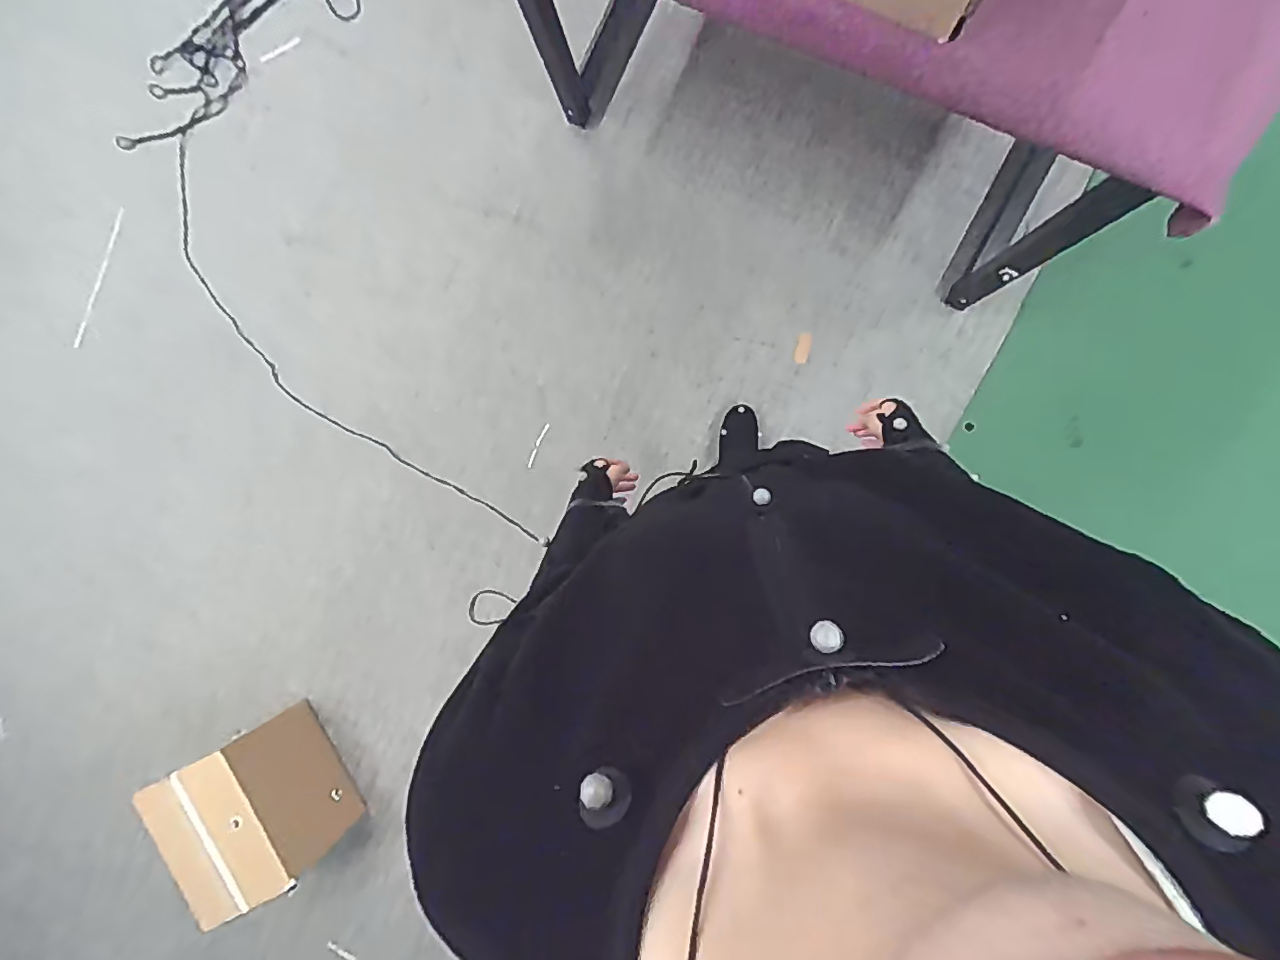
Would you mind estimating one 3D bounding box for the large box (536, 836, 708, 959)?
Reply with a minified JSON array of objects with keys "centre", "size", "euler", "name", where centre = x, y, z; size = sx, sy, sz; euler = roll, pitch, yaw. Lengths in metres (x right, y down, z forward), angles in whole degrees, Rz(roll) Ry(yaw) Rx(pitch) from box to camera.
[{"centre":[-0.052,1.229,1.427],"size":[0.408,0.320,0.320],"euler":[13,95,5],"name":"large box"}]
